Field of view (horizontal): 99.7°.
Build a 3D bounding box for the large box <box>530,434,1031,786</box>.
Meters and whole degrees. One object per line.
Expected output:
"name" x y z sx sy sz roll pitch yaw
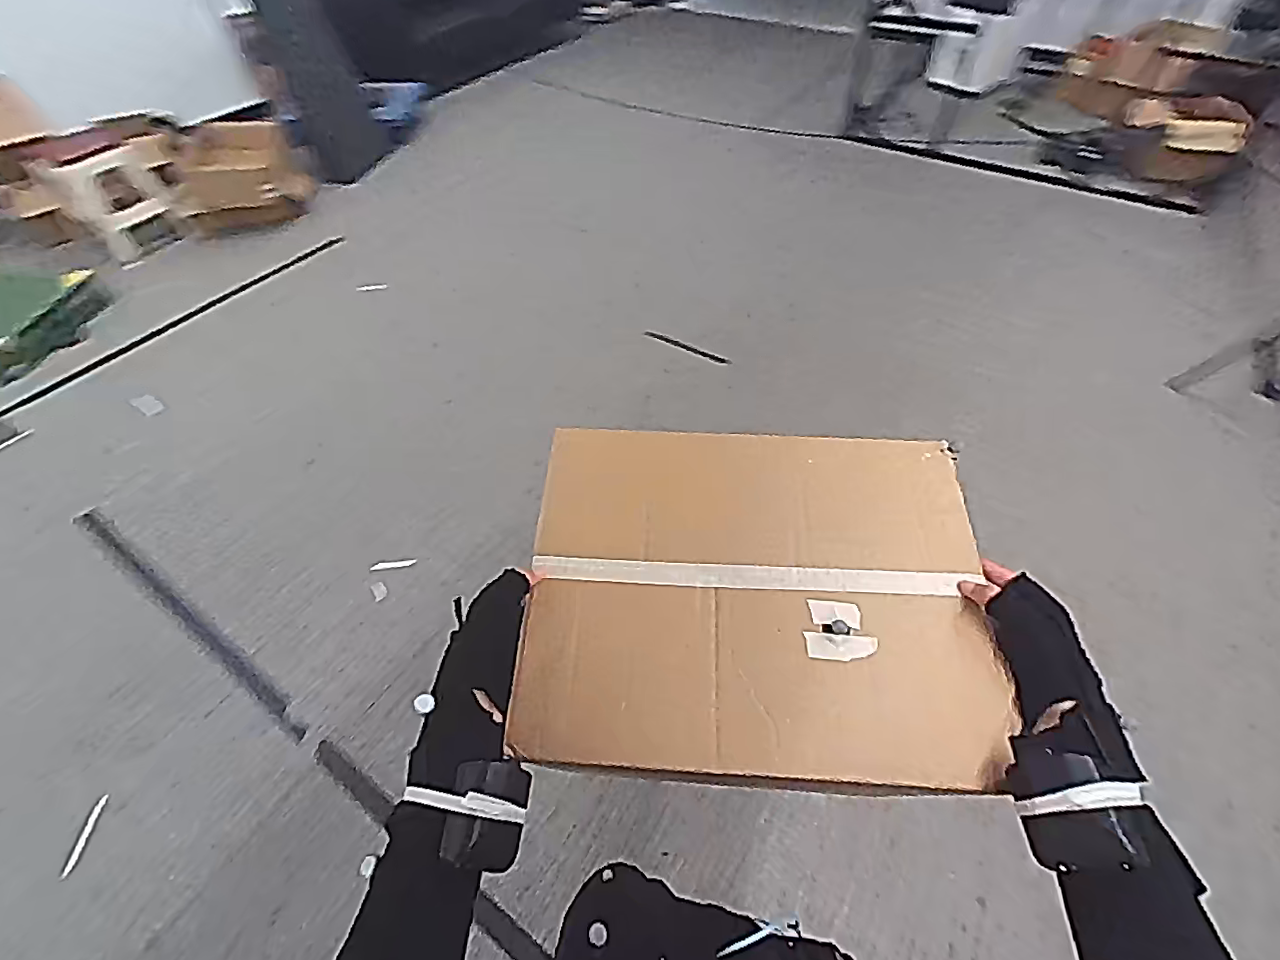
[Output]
"large box" 0.117 0.165 0.628 0.408 0.320 0.320 3 61 3
